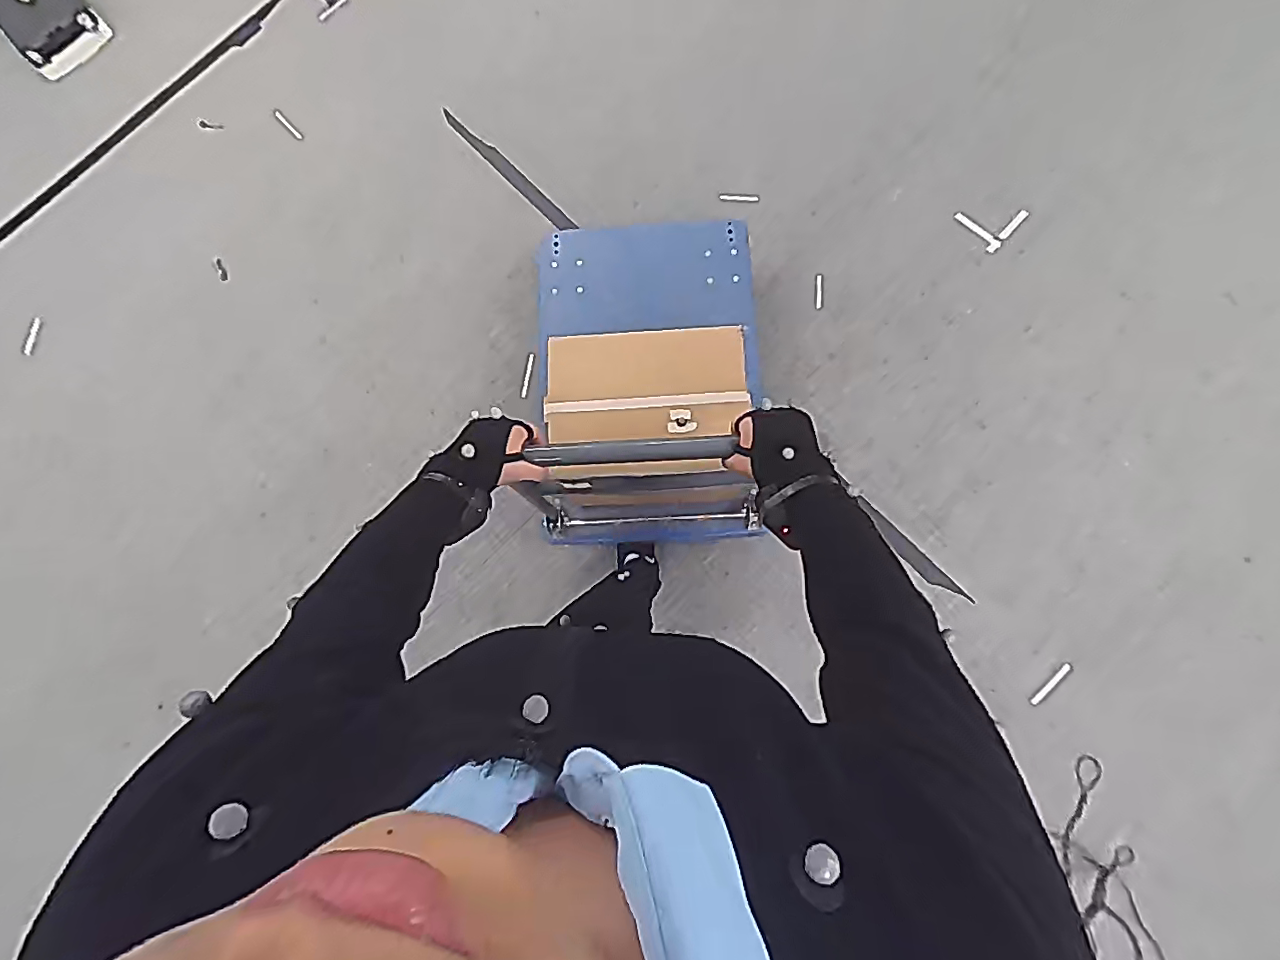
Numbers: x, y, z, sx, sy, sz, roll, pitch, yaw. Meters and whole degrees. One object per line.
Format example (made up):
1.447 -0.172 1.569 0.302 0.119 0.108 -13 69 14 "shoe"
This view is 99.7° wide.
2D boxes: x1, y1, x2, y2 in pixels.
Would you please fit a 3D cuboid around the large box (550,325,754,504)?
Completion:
0.022 -0.129 1.236 0.408 0.320 0.320 -3 79 2 "large box"
